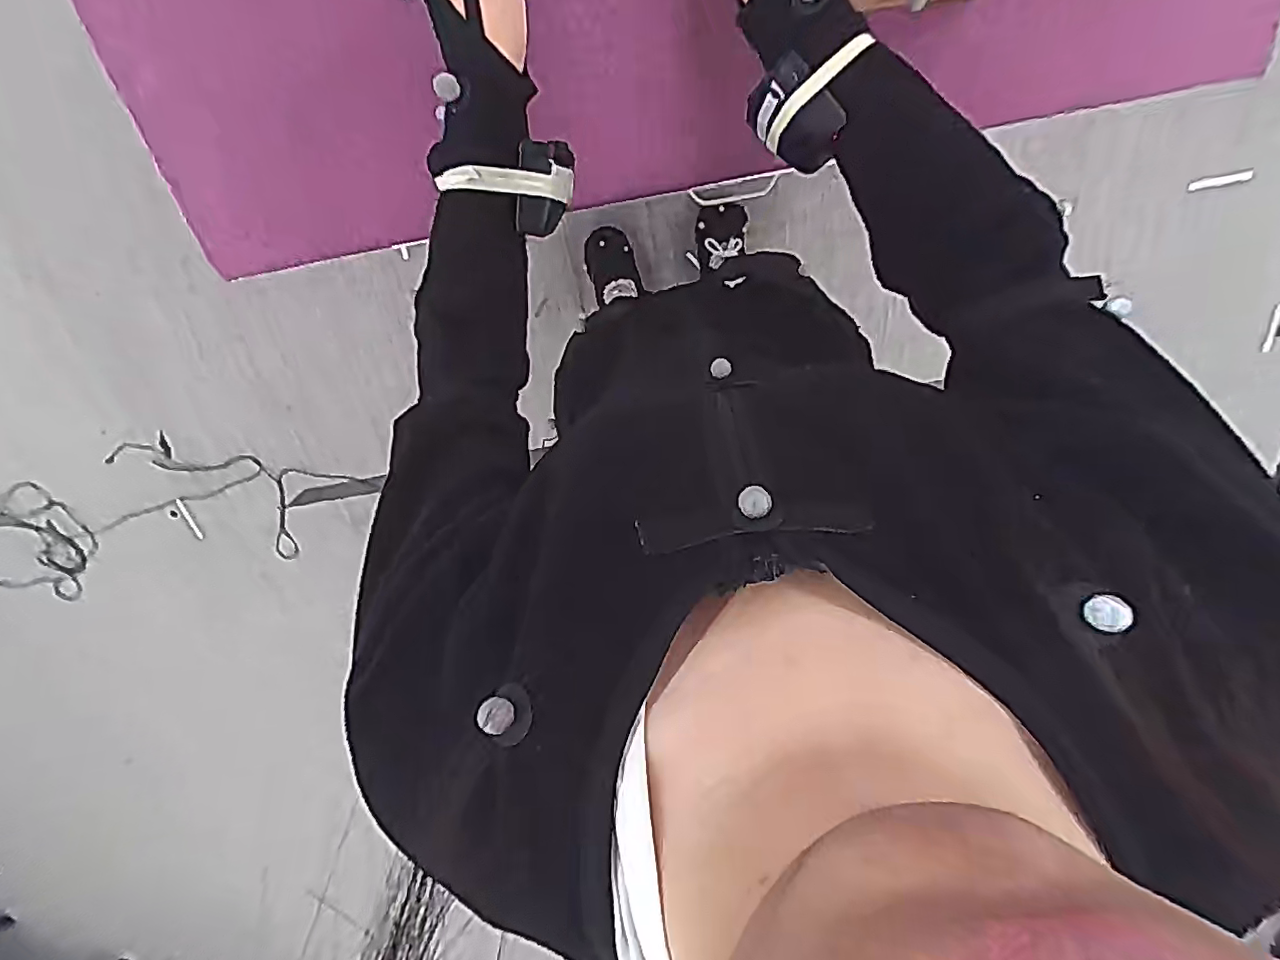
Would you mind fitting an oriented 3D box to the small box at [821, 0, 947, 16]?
[{"bbox_3d":[0.253,-0.530,0.447,0.168,0.176,0.179,-8,116,1],"label":"small box"}]
